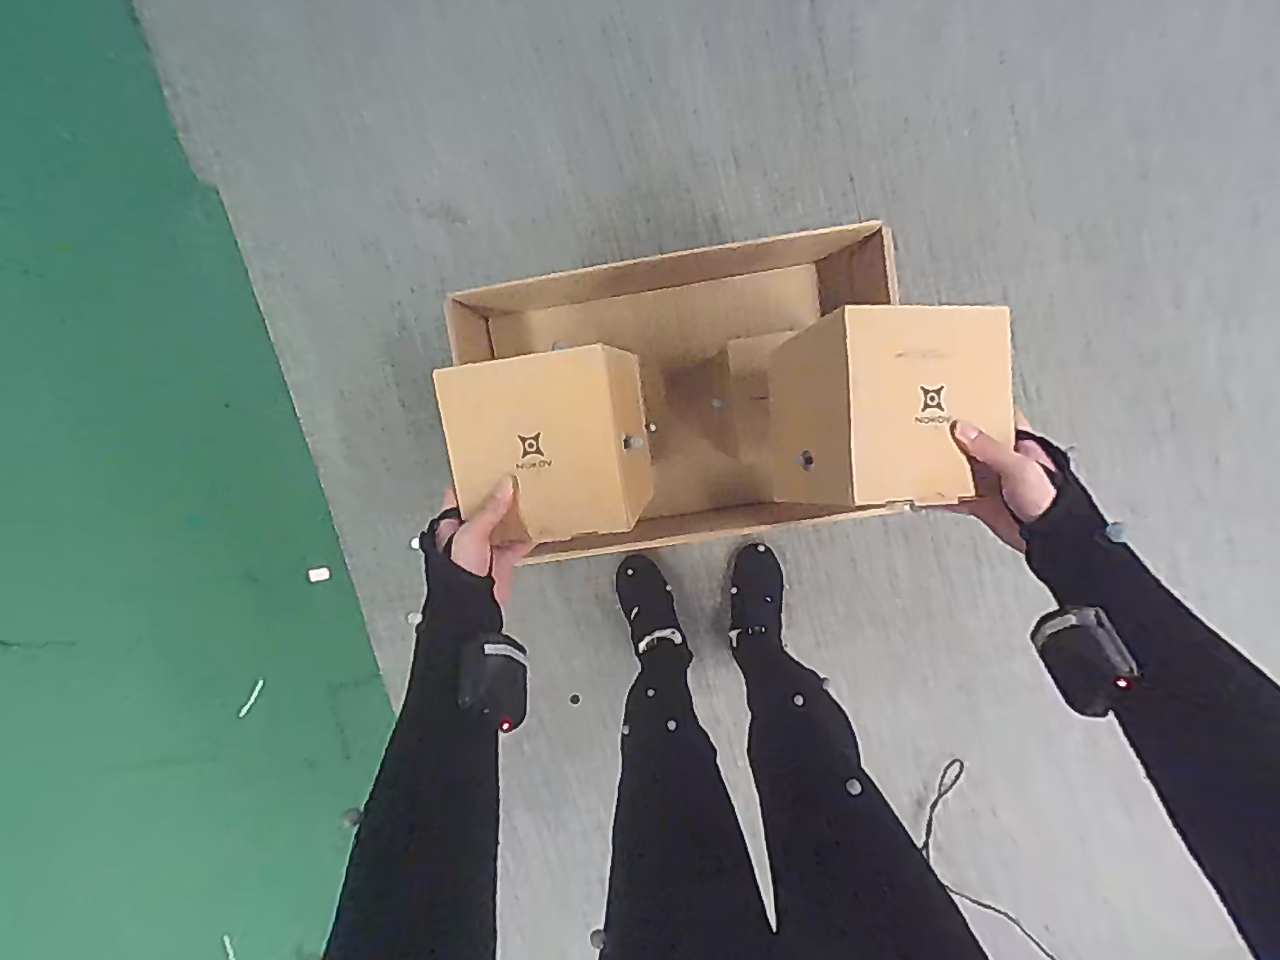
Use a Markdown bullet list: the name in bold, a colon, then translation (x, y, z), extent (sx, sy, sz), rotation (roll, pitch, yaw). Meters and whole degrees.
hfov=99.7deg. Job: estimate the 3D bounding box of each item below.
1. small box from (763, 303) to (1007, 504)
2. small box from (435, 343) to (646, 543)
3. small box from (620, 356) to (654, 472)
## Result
- **small box**: translation (0.237, -0.069, 0.558), extent (0.168, 0.176, 0.179), rotation (-3, 89, -9)
- **small box**: translation (-0.093, -0.044, 0.590), extent (0.168, 0.176, 0.179), rotation (-7, 99, 10)
- **small box**: translation (-0.077, -0.085, 0.815), extent (0.179, 0.176, 0.168), rotation (-6, 95, 5)
